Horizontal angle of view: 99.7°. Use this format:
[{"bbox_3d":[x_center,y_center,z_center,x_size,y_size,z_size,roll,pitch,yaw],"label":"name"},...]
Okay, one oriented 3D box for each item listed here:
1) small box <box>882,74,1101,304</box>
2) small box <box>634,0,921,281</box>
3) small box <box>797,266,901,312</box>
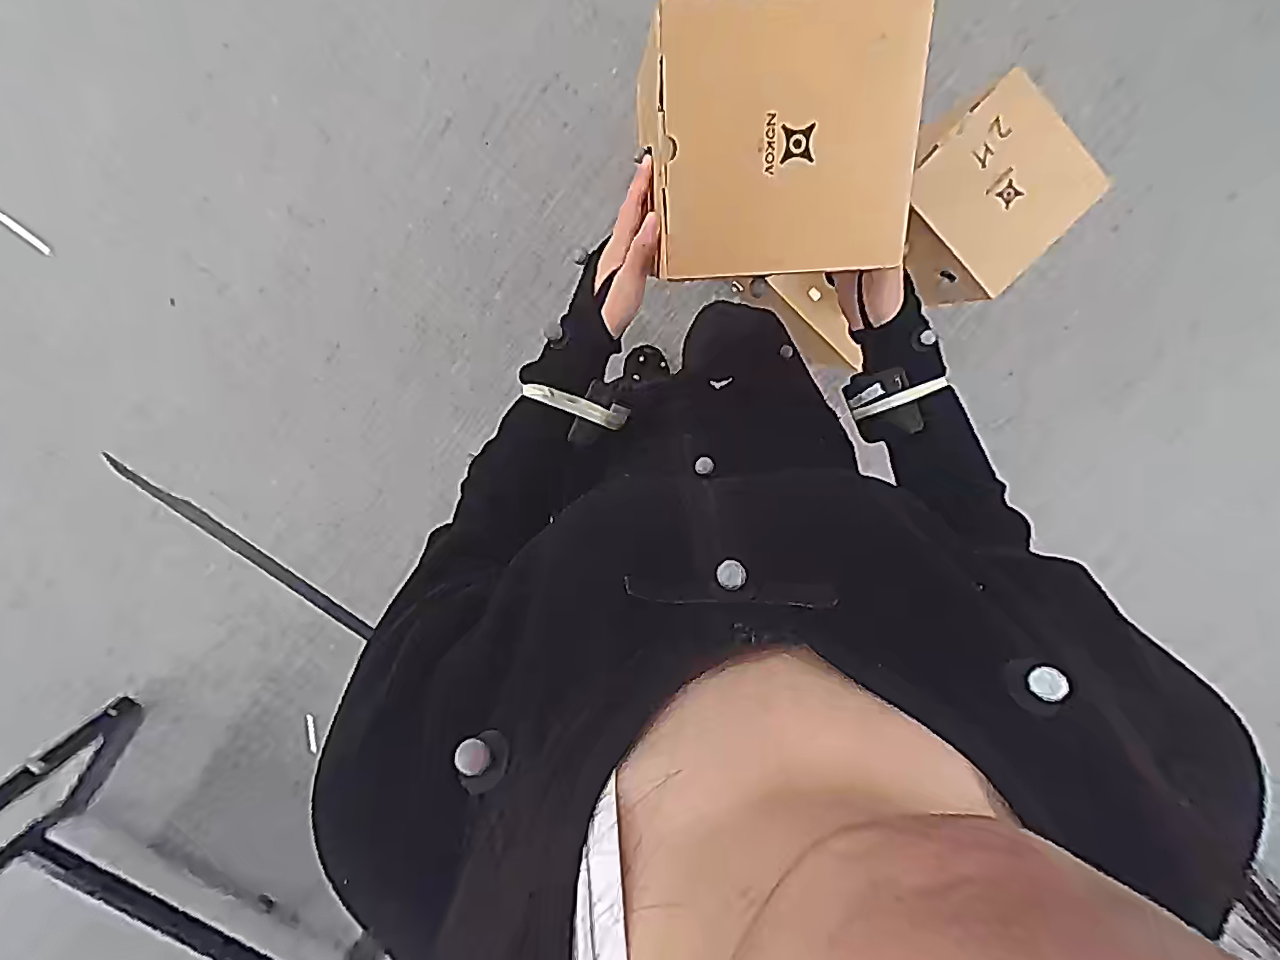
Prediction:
[{"bbox_3d":[0.401,-0.343,0.682,0.179,0.176,0.168,42,101,-10],"label":"small box"},{"bbox_3d":[0.090,-0.258,0.439,0.179,0.176,0.168,-4,113,-1],"label":"small box"},{"bbox_3d":[0.401,-0.426,1.000,0.179,0.176,0.168,38,103,-11],"label":"small box"}]
